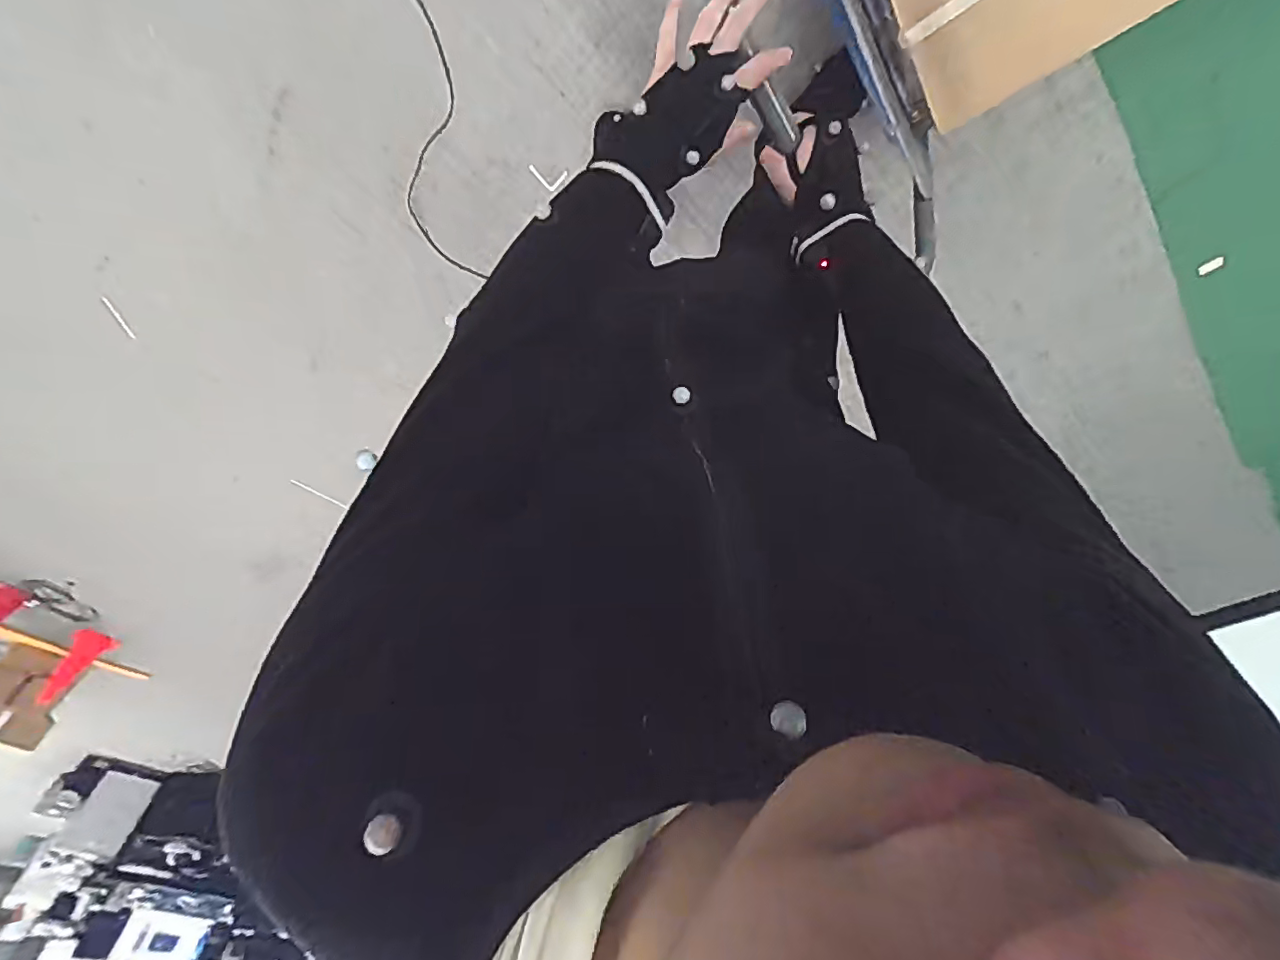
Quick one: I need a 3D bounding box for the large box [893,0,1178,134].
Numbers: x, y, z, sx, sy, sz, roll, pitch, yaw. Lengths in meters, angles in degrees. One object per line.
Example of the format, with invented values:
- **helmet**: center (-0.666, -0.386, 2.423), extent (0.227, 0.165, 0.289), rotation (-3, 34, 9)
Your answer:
- **large box**: center (0.564, -0.789, 0.737), extent (0.408, 0.320, 0.320), rotation (-19, 131, 37)
